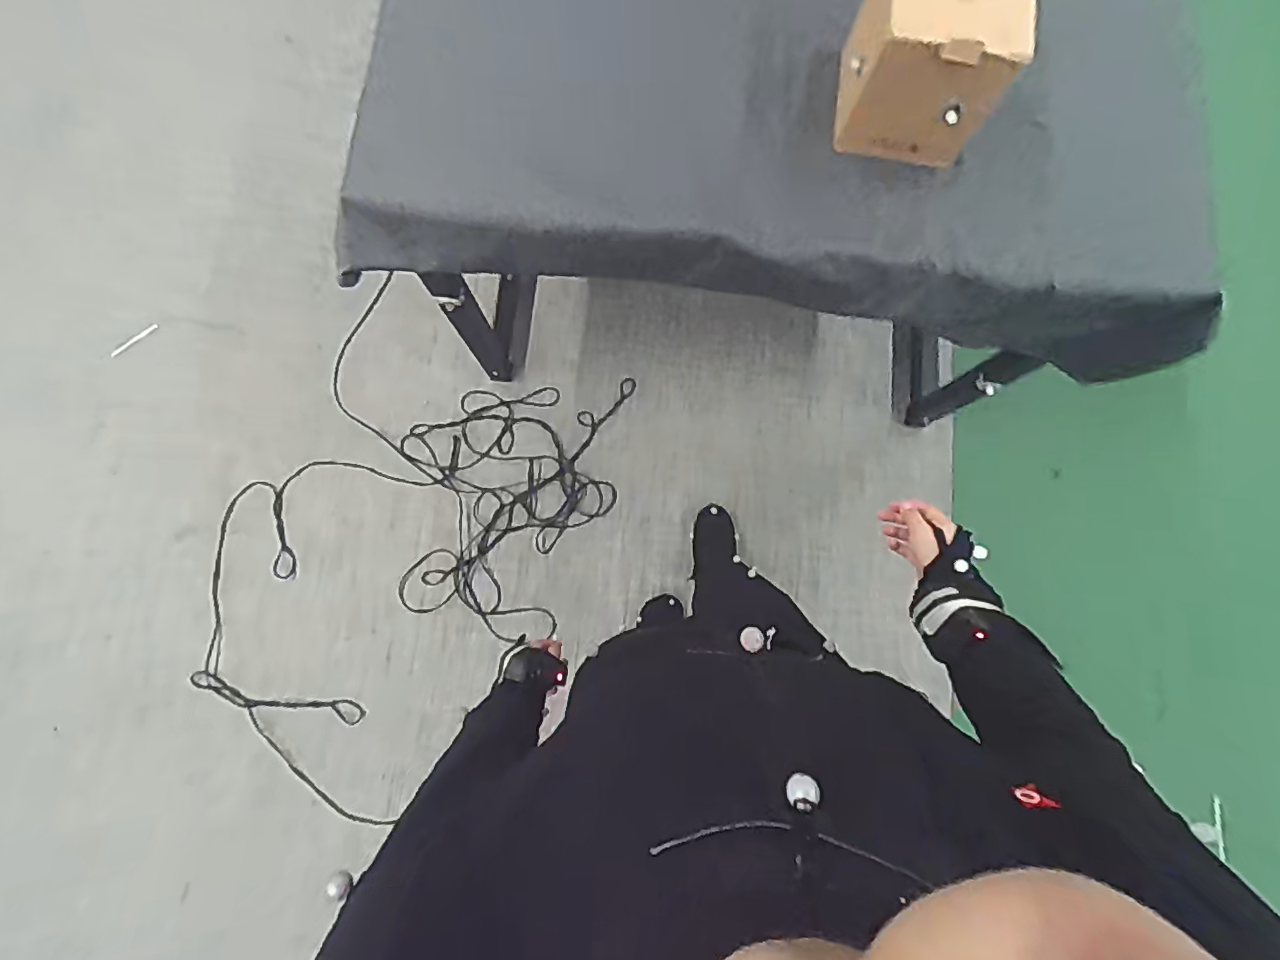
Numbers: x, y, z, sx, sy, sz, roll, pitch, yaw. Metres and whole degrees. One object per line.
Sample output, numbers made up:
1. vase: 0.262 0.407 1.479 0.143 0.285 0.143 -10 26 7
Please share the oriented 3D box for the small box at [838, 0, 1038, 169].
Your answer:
1. small box: 0.369 -0.541 0.696 0.168 0.176 0.179 9 78 -1
